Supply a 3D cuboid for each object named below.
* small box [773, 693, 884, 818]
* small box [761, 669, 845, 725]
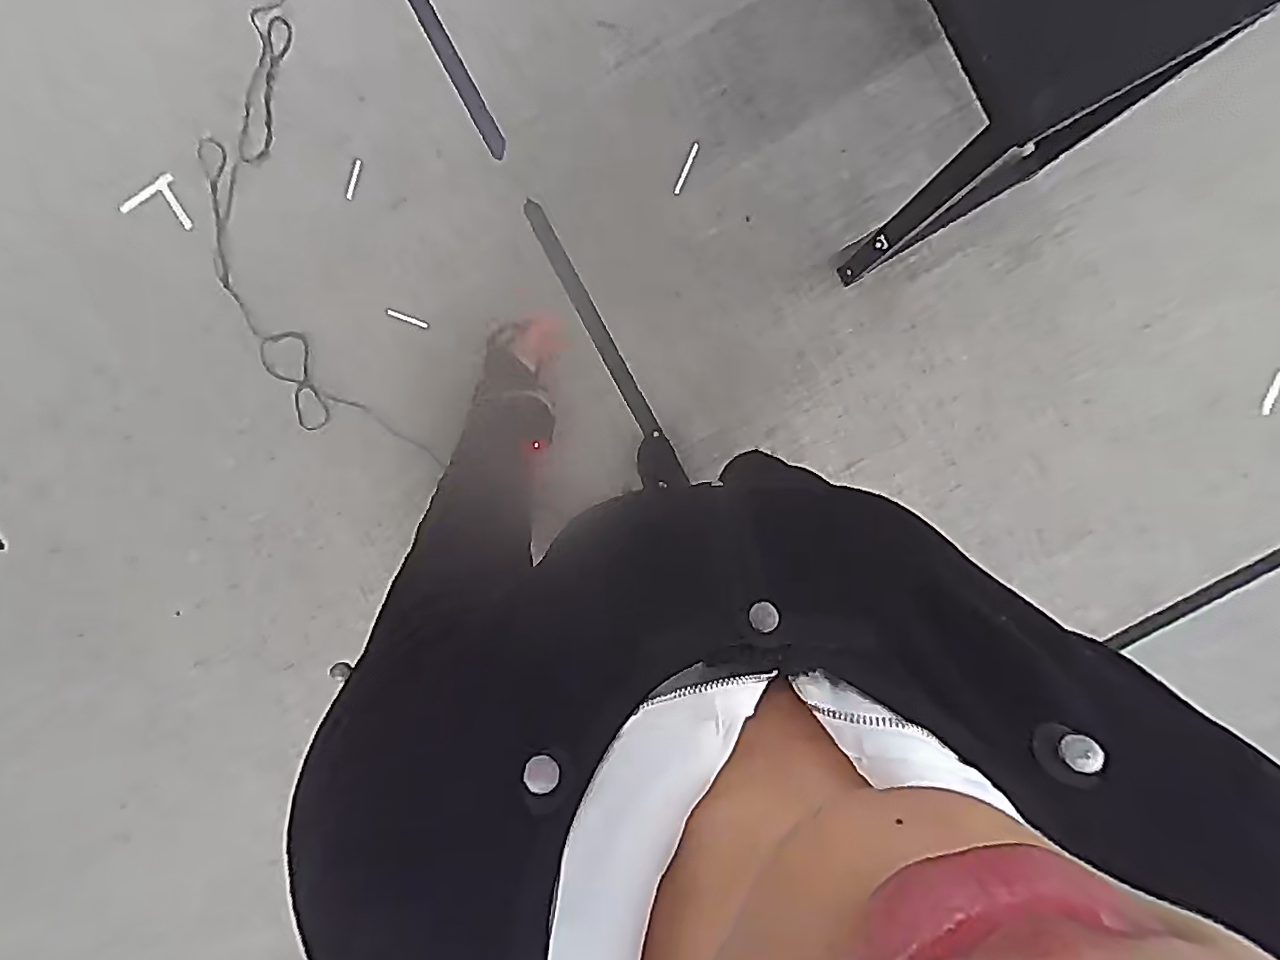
[{"bbox_3d":[0.442,0.649,1.294,0.168,0.176,0.179,-29,92,3],"label":"small box"},{"bbox_3d":[0.451,0.642,1.458,0.179,0.176,0.168,-29,92,3],"label":"small box"}]
